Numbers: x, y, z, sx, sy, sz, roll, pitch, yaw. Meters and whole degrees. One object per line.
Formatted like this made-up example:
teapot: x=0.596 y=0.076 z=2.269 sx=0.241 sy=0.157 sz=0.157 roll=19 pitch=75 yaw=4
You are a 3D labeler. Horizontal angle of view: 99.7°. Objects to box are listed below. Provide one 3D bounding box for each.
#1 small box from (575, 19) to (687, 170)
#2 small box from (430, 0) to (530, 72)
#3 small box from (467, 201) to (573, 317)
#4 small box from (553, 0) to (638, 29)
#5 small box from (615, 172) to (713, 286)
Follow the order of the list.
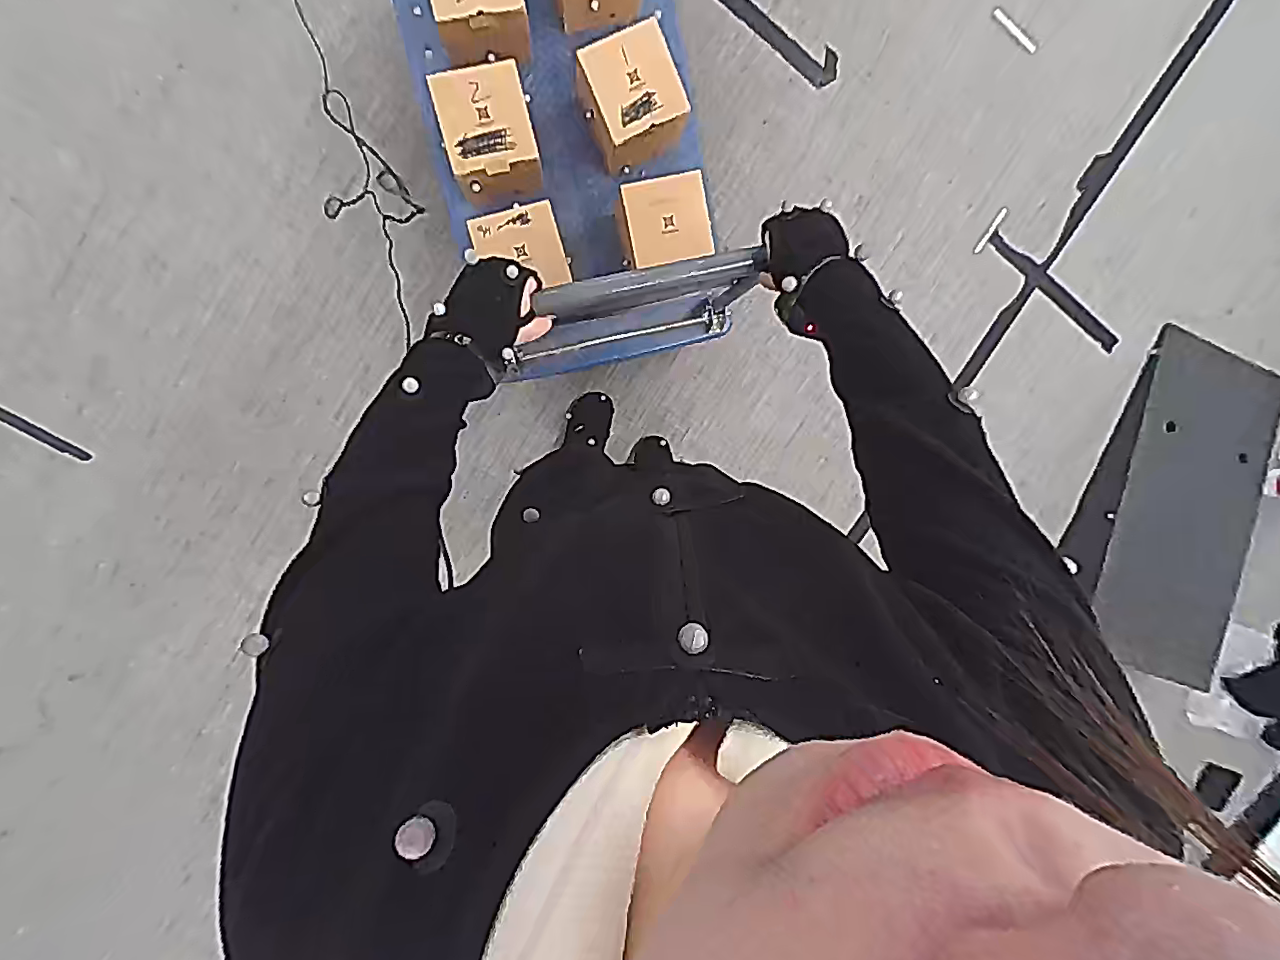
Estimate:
small box: x=-0.022 y=-0.766 z=1.102 sx=0.168 sy=0.176 sz=0.179 roll=-25 pitch=101 yaw=-2
small box: x=-0.314 y=-0.934 z=1.037 sx=0.168 sy=0.176 sz=0.179 roll=-12 pitch=102 yaw=-4
small box: x=-0.241 y=-0.449 z=1.130 sx=0.168 sy=0.176 sz=0.179 roll=-17 pitch=102 yaw=-5
small box: x=-0.097 y=-1.024 z=1.049 sx=0.168 sy=0.176 sz=0.179 roll=-16 pitch=101 yaw=-3
small box: x=0.046 y=-0.523 z=1.154 sx=0.168 sy=0.176 sz=0.179 roll=-13 pitch=101 yaw=-5
